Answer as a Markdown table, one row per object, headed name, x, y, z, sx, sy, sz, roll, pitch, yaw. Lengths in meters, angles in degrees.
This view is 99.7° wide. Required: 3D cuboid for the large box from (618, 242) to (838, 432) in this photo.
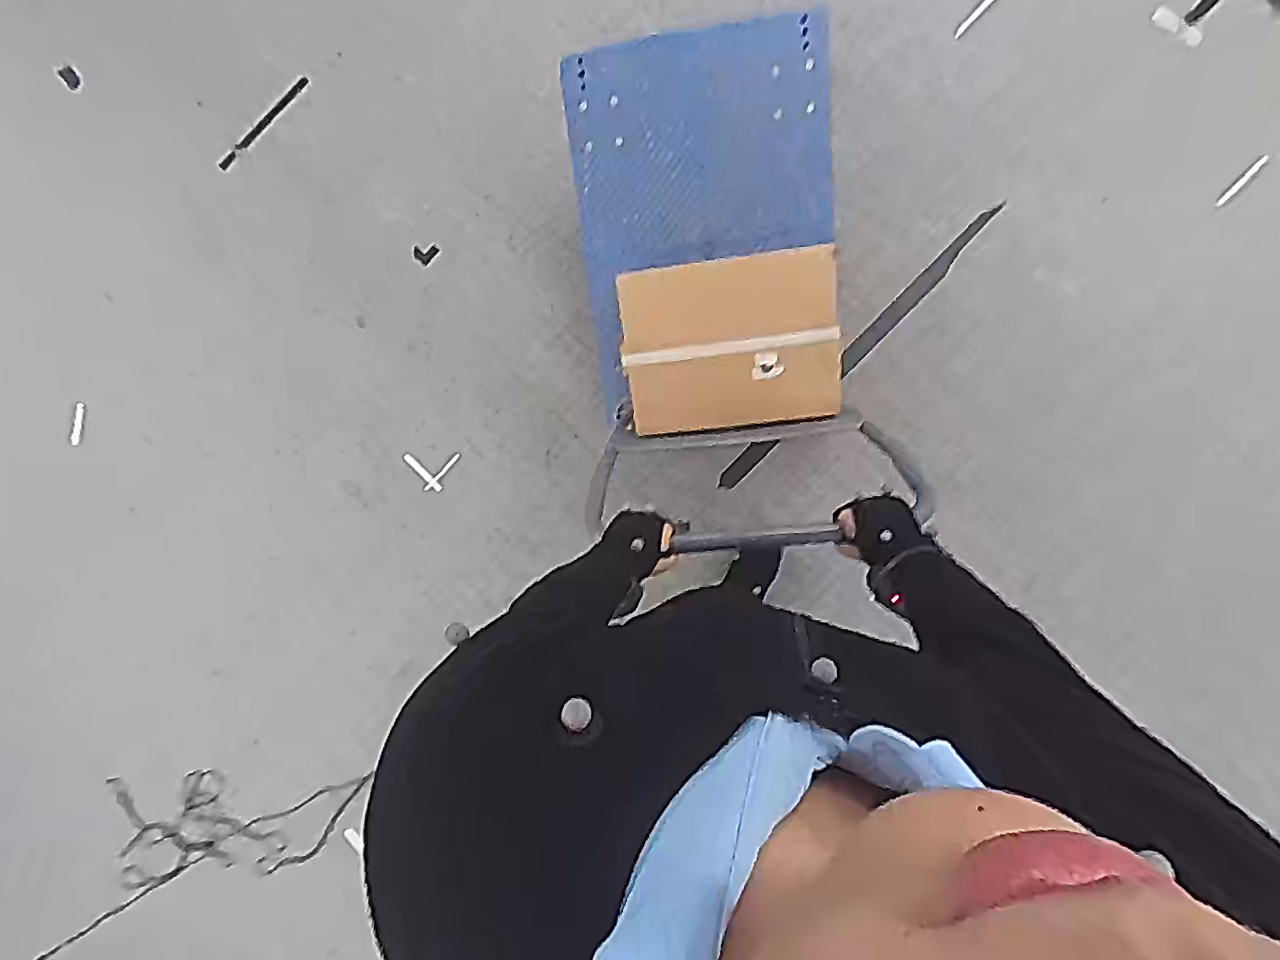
| name | x | y | z | sx | sy | sz | roll | pitch | yaw |
| --- | --- | --- | --- | --- | --- | --- | --- | --- | --- |
| large box | 0.182 | -0.307 | 1.192 | 0.408 | 0.320 | 0.320 | -7 | 106 | 6 |
